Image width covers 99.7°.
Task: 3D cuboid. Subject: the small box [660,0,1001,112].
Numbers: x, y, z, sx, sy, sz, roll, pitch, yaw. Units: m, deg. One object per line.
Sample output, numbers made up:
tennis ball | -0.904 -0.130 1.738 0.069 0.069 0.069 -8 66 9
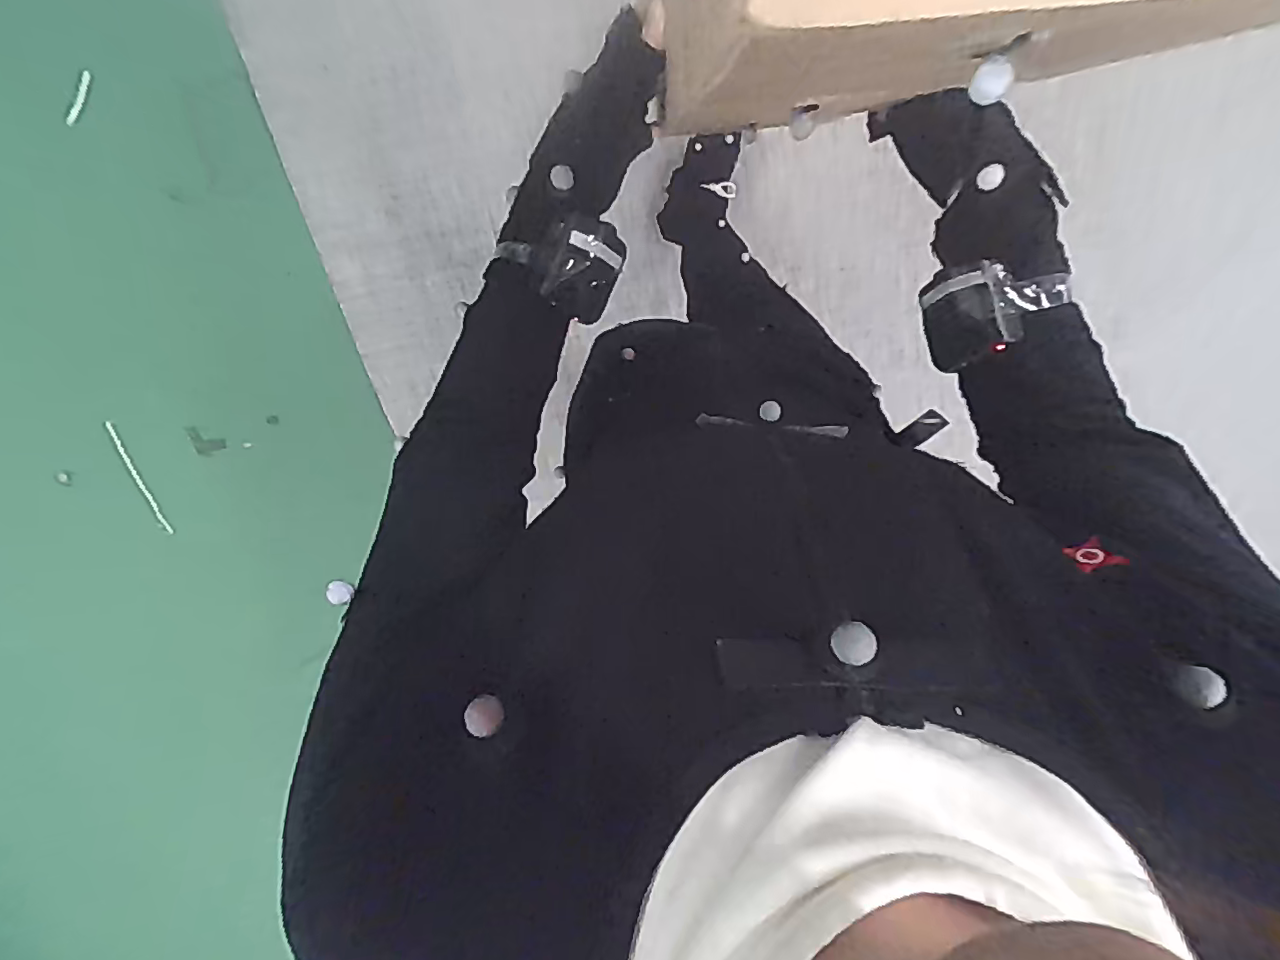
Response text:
small box | 0.096 -0.318 0.300 0.168 0.176 0.179 -5 119 3

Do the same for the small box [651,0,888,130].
small box | 0.099 -0.396 0.443 0.179 0.176 0.168 -3 118 3
